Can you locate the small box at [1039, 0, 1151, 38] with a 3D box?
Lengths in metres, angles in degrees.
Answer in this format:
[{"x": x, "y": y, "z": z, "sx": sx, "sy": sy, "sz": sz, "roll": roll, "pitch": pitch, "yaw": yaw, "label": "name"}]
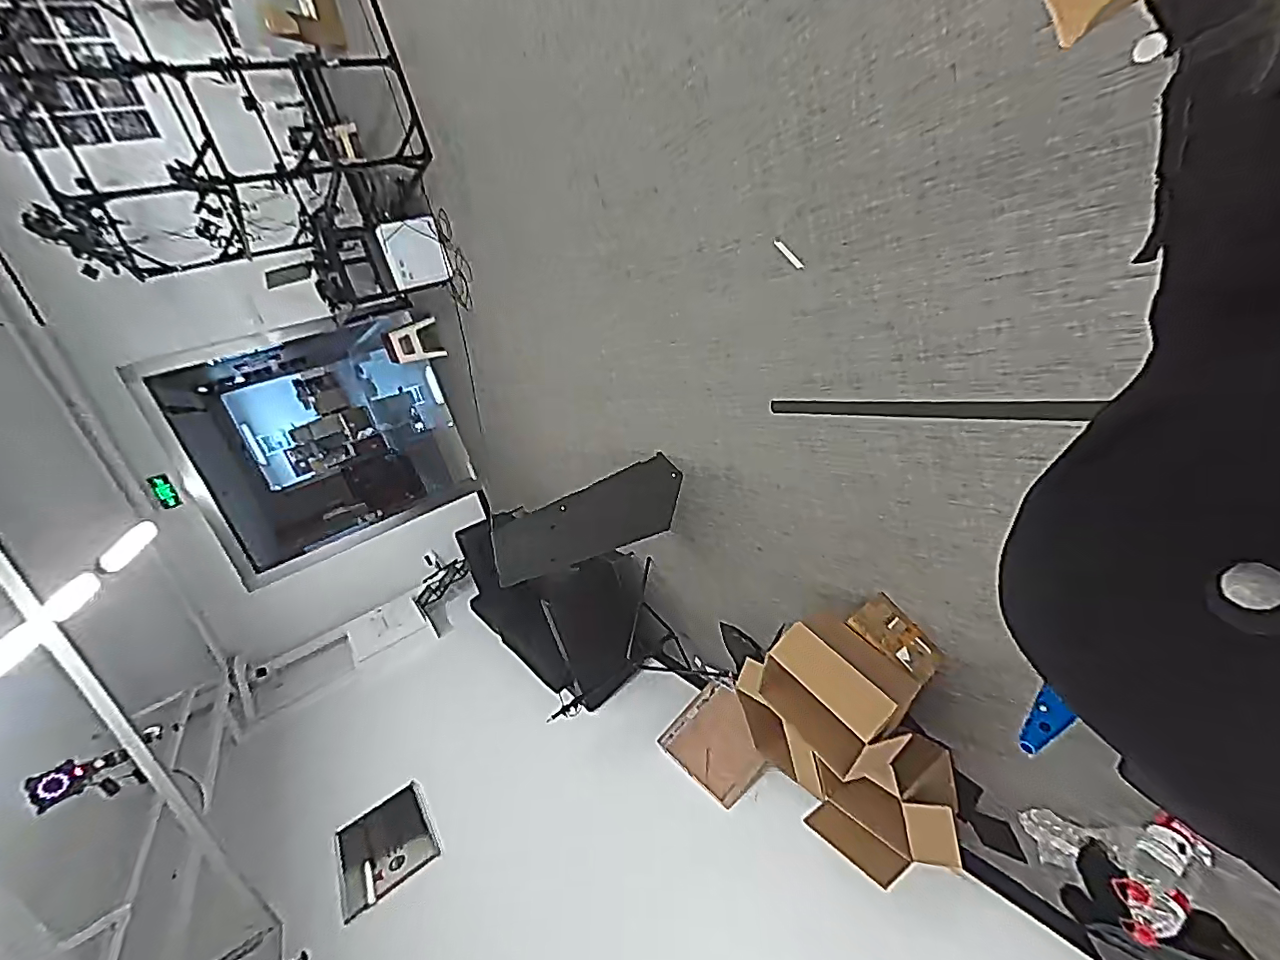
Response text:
[{"x": 0.221, "y": -0.309, "z": 0.189, "sx": 0.168, "sy": 0.176, "sz": 0.179, "roll": -24, "pitch": 103, "yaw": 39, "label": "small box"}]
